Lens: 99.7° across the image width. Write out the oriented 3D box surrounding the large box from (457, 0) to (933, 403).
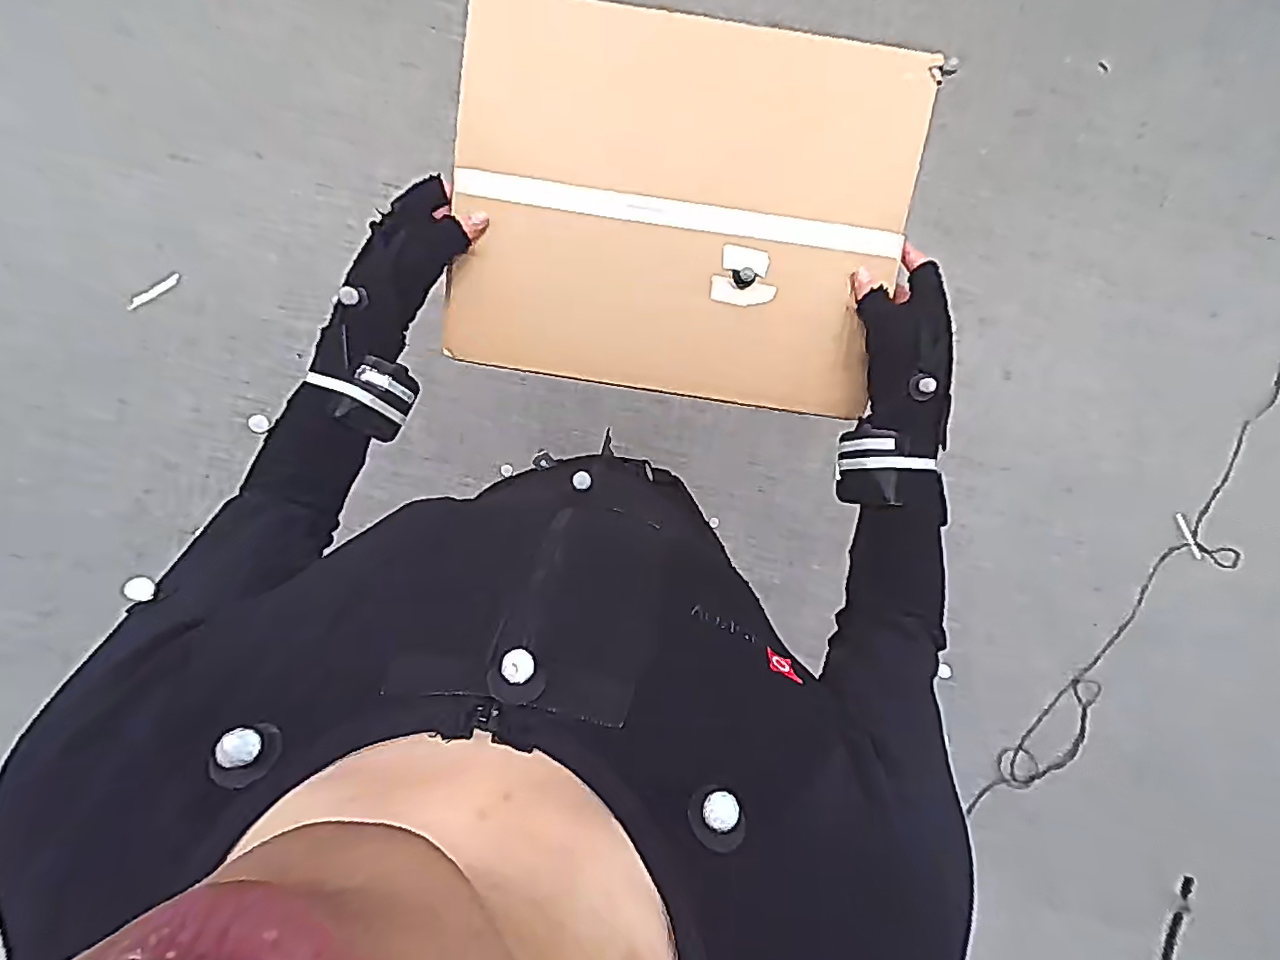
[{"bbox_3d":[0.039,-0.272,0.636,0.408,0.320,0.320,8,101,-1],"label":"large box"}]
